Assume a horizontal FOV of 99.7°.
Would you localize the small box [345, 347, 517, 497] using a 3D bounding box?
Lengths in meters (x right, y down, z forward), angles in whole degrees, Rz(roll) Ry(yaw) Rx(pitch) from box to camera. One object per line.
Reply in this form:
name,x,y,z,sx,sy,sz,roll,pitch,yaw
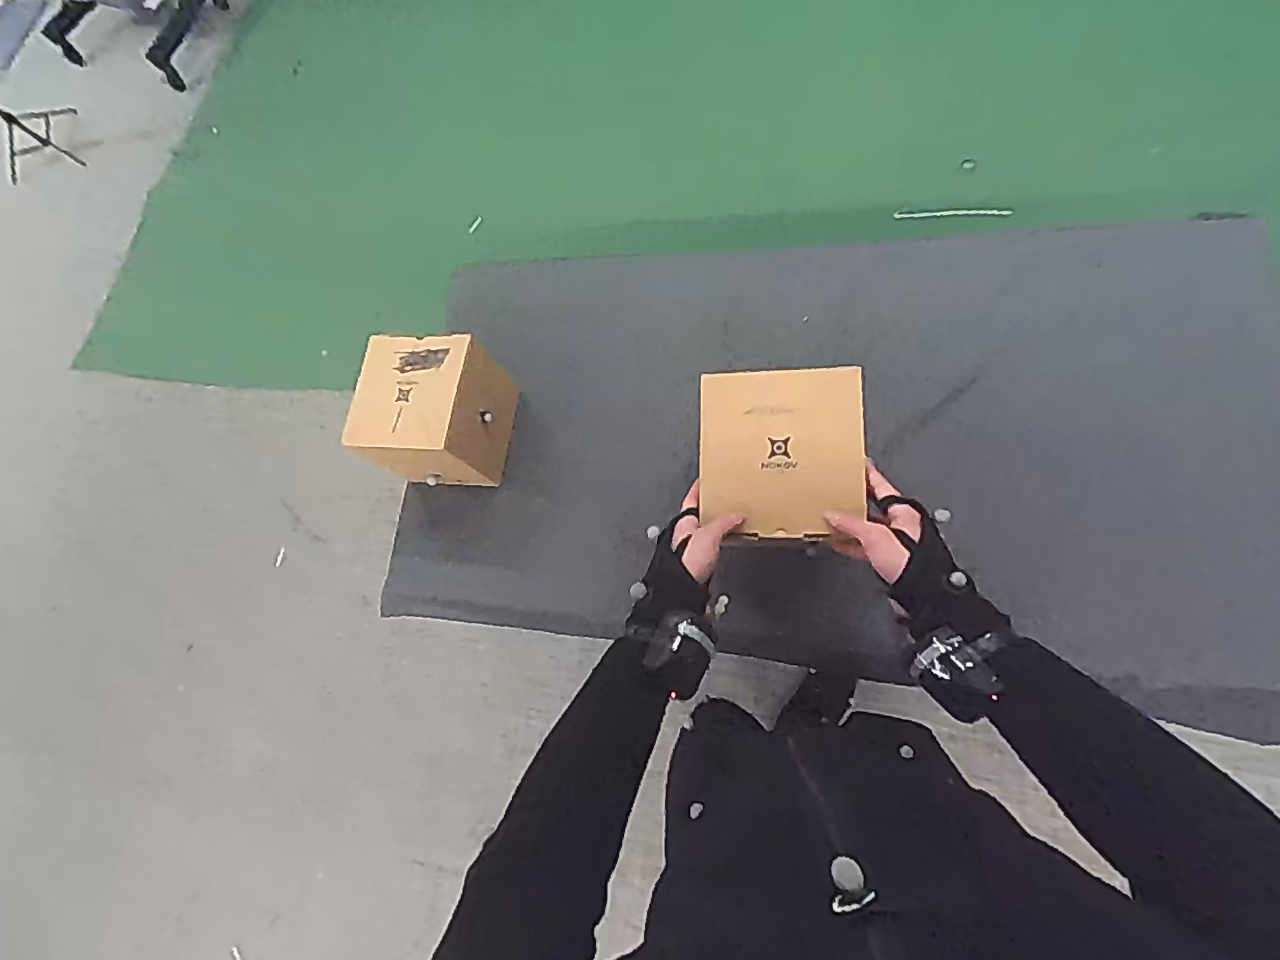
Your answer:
small box,-0.304,-0.084,0.828,0.168,0.176,0.179,3,73,14
